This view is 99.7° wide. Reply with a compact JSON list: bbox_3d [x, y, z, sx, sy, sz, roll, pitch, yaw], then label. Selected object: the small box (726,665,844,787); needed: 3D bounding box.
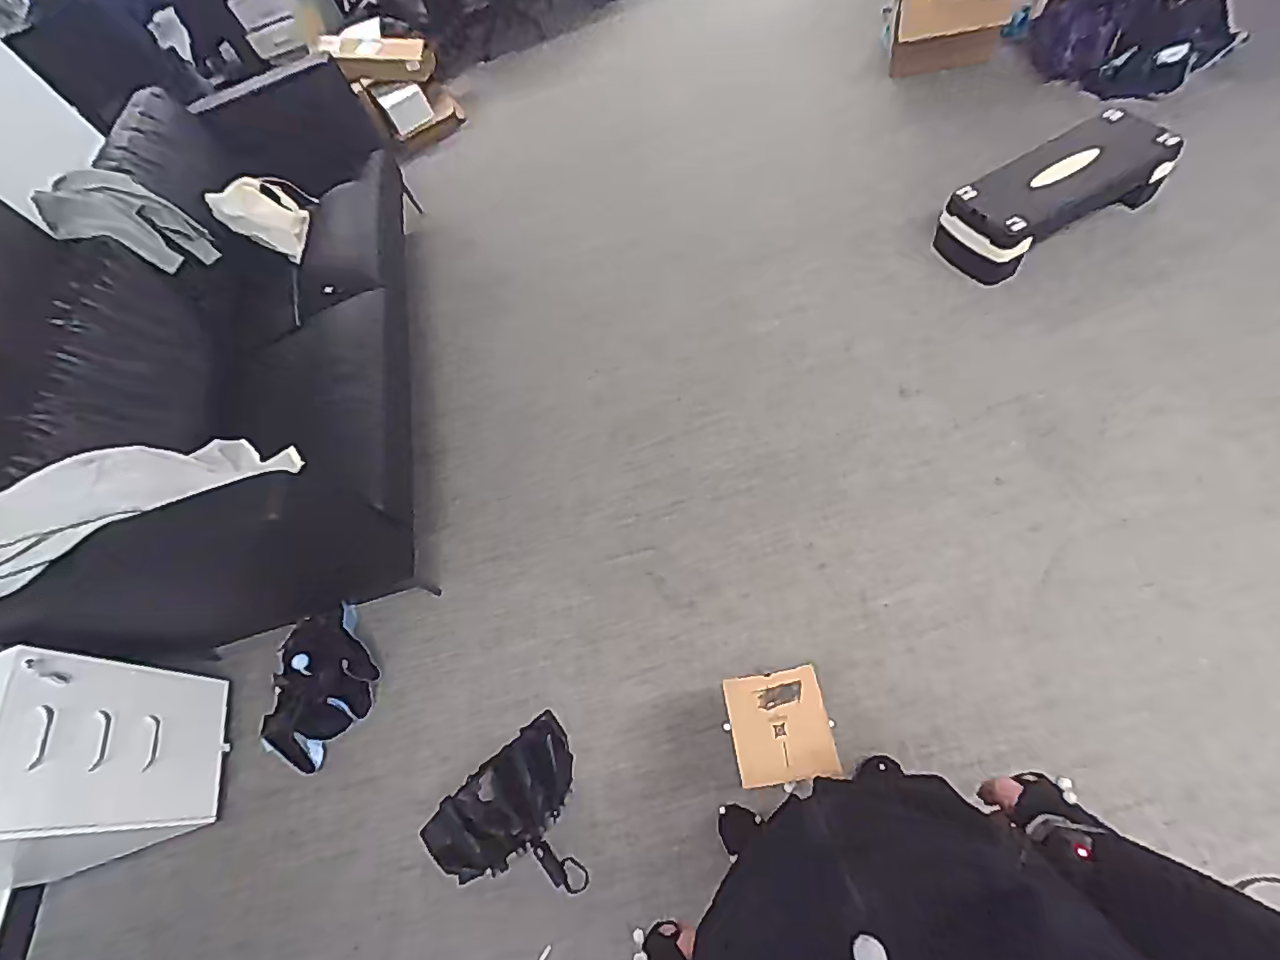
[{"bbox_3d":[0.258,0.456,0.995,0.168,0.176,0.179,-13,60,7],"label":"small box"}]
